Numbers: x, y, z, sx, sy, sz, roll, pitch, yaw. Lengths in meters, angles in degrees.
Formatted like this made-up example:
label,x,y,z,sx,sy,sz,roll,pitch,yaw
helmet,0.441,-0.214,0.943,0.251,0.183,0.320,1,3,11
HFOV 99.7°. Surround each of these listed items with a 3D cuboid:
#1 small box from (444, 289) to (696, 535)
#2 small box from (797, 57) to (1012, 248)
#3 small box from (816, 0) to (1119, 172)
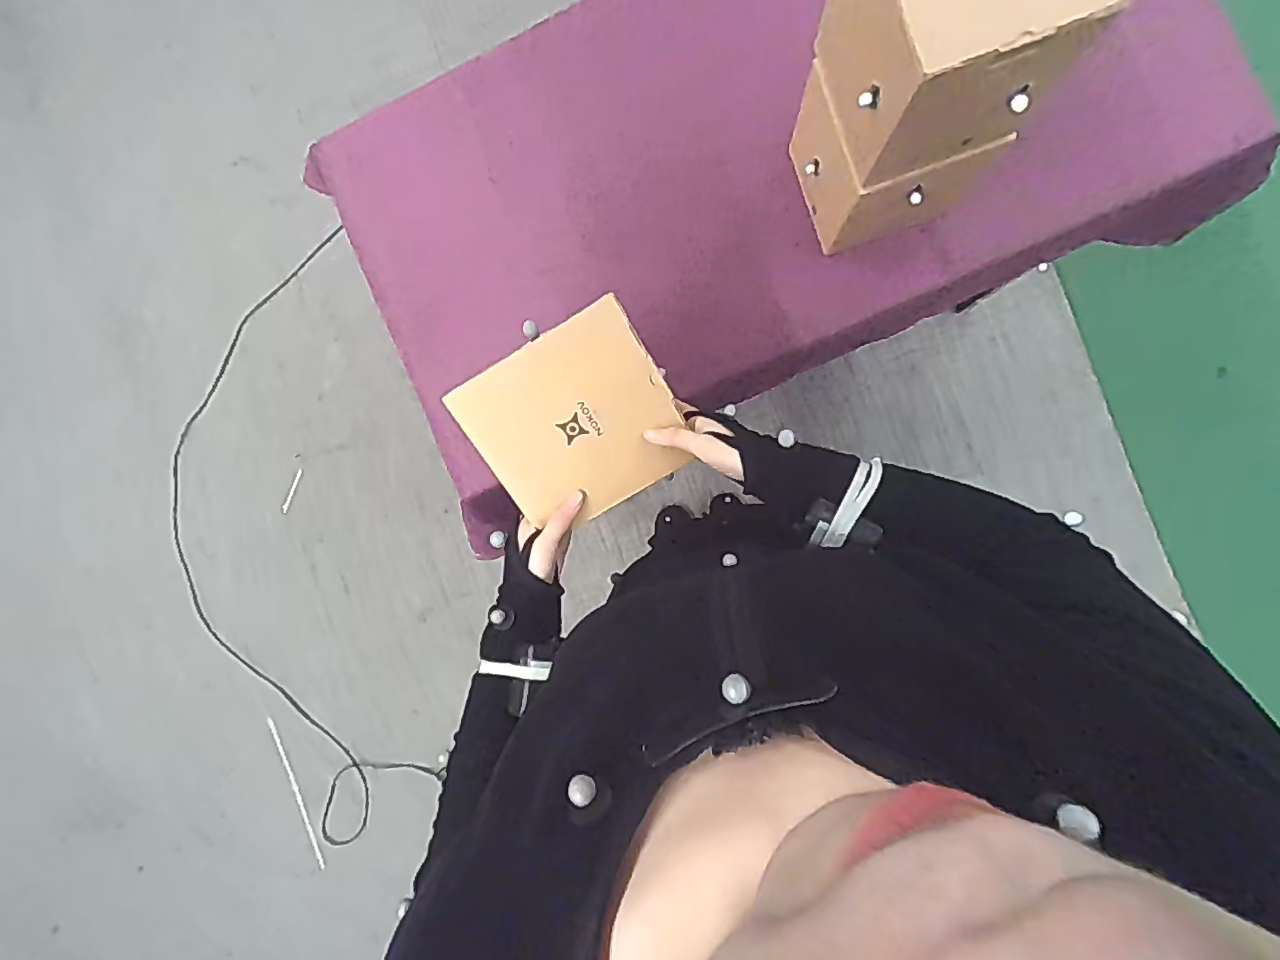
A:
label,x,y,z,sx,sy,sz,roll,pitch,yaw
small box,-0.064,-0.076,0.562,0.179,0.176,0.168,-30,106,5
small box,0.305,-0.419,0.672,0.179,0.176,0.168,-18,88,6
small box,0.284,-0.428,0.511,0.168,0.176,0.179,-17,87,6
